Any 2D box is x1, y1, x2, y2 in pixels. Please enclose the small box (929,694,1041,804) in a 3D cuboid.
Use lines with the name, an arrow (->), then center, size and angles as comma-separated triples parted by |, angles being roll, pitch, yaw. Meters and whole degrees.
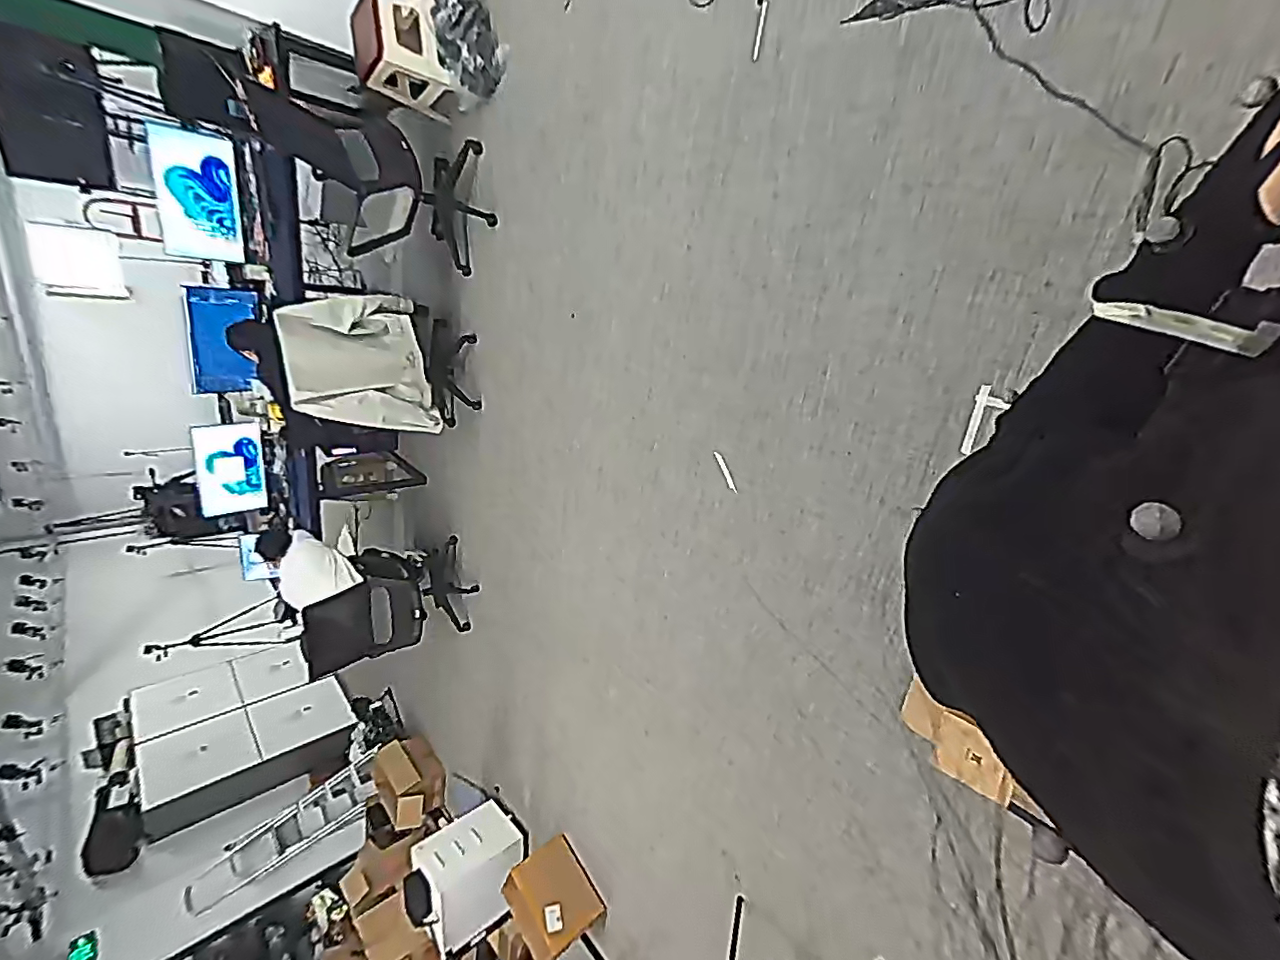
small box -> 0.853, 0.641, 1.338 | 0.179, 0.176, 0.168 | 20, 114, 43
